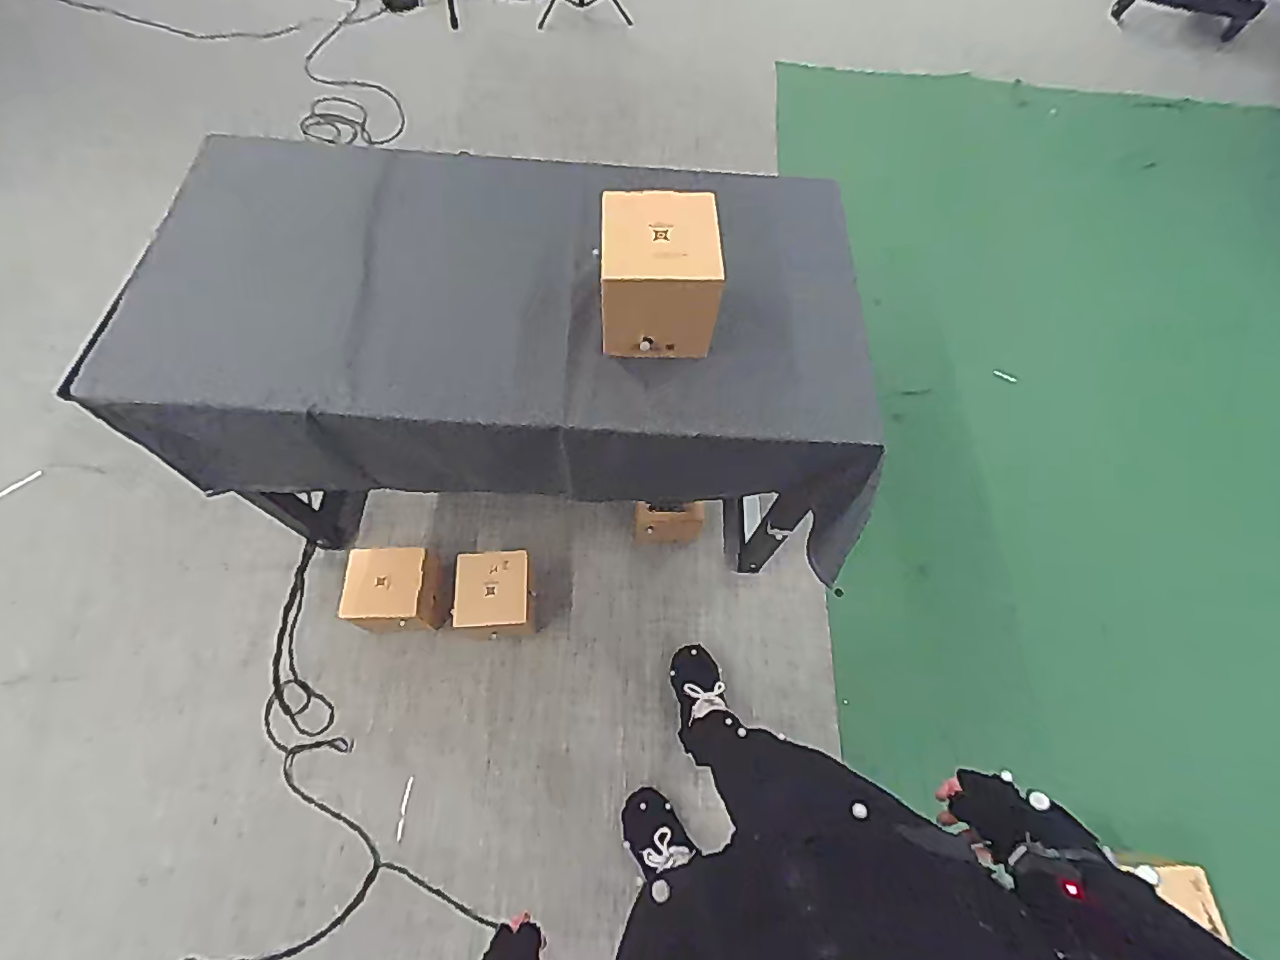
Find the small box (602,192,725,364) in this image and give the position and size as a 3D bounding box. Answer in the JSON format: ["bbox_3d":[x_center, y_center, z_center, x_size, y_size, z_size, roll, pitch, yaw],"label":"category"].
[{"bbox_3d":[0.027,-0.299,0.813,0.168,0.176,0.179,0,64,-2],"label":"small box"}]

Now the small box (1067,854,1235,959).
[{"bbox_3d":[1.025,0.879,1.105,0.179,0.176,0.168,2,64,-1],"label":"small box"}]
